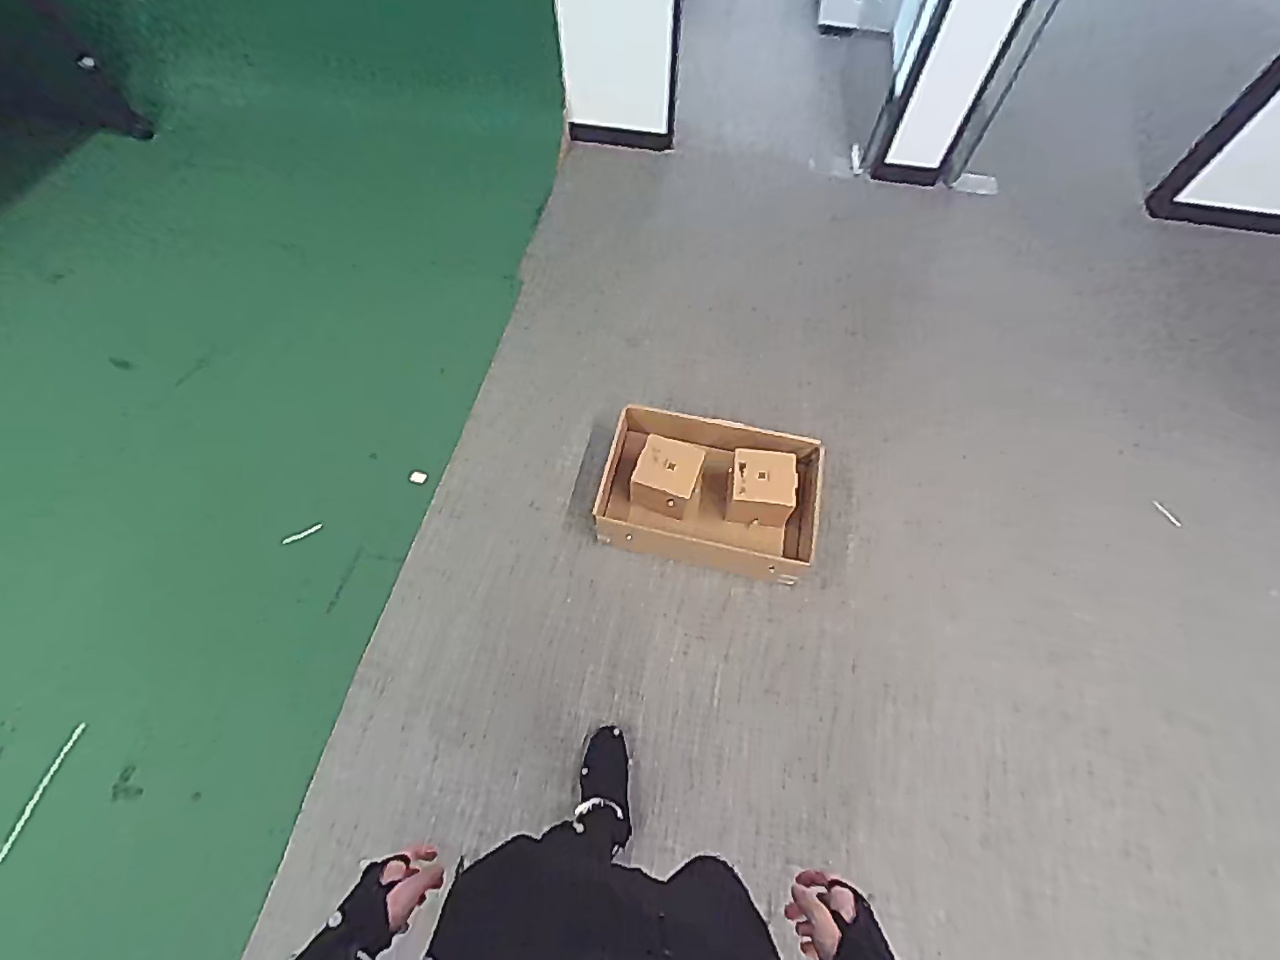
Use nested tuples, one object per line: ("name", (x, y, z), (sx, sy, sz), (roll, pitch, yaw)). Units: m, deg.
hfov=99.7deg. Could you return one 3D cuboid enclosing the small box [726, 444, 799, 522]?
("small box", (0.356, 0.015, 1.580), (0.179, 0.176, 0.168), (7, 65, 4))
